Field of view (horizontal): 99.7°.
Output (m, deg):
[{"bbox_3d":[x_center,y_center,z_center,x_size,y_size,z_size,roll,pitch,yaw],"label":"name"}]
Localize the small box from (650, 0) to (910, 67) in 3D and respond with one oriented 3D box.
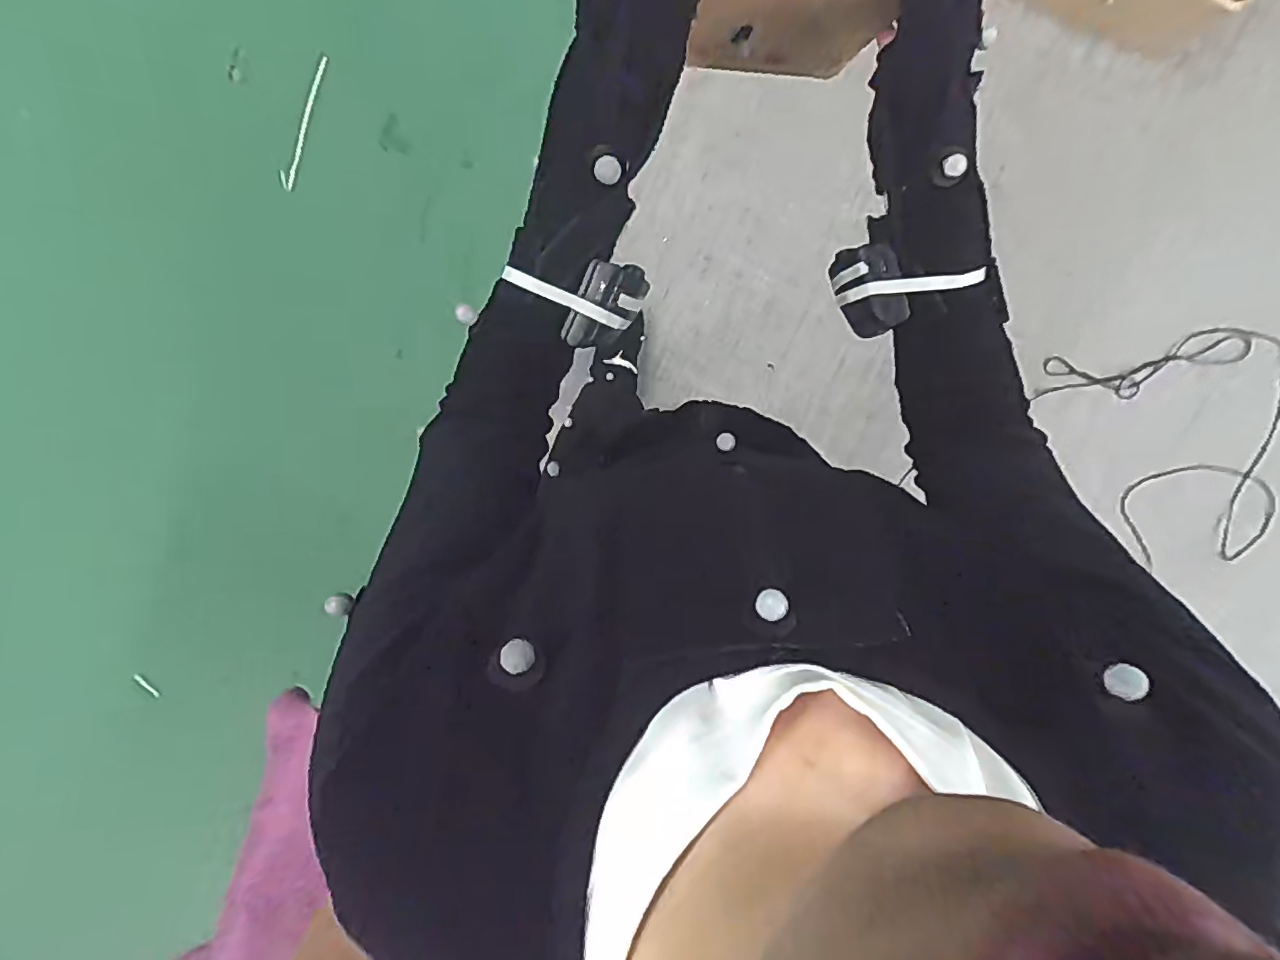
[{"bbox_3d":[0.100,-0.407,0.345,0.168,0.176,0.179,0,109,-7],"label":"small box"}]
